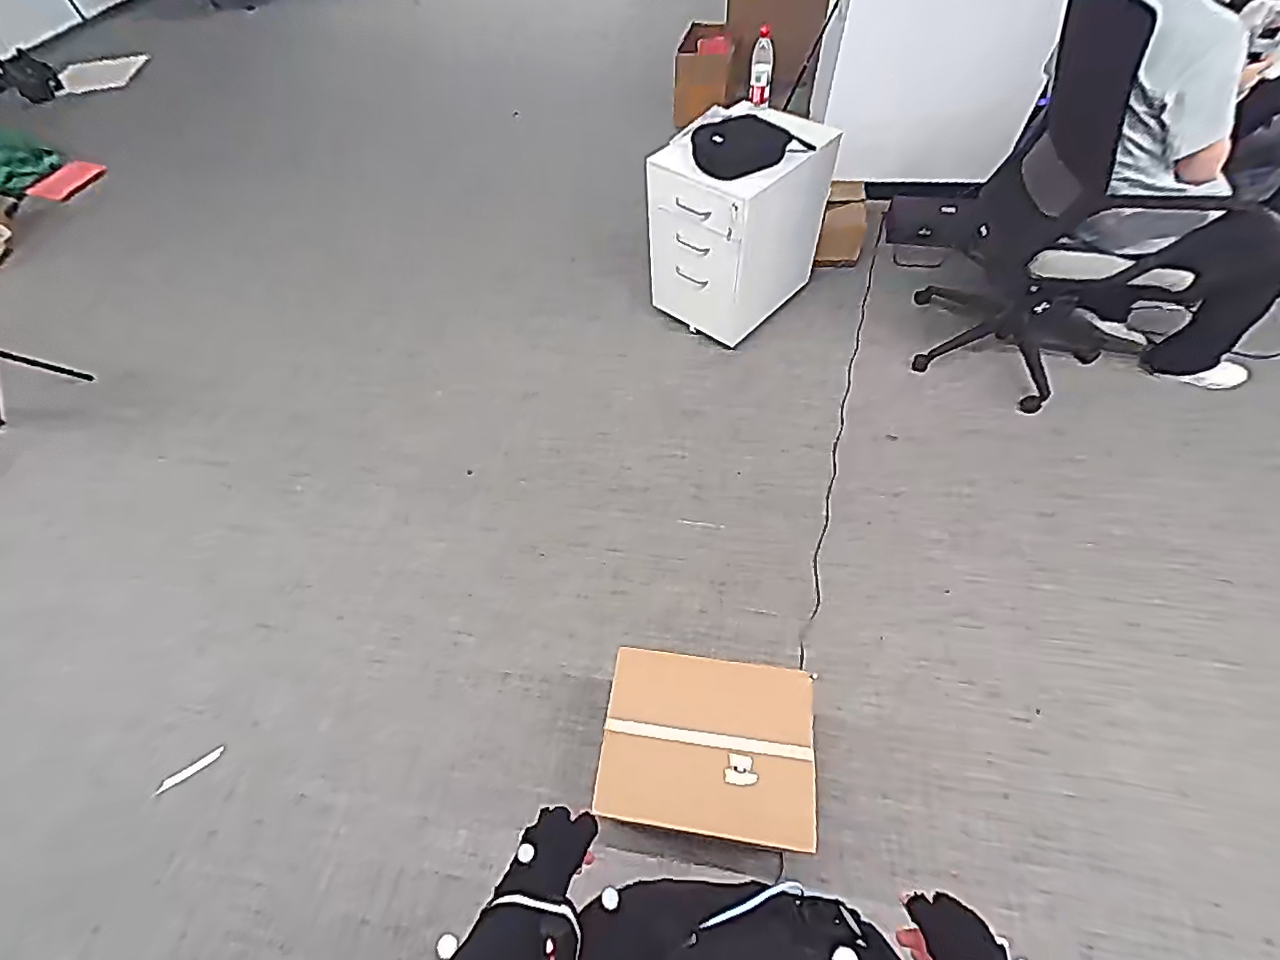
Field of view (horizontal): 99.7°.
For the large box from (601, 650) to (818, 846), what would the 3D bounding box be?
[{"bbox_3d":[0.148,0.592,1.188,0.408,0.320,0.320,5,57,7],"label":"large box"}]
